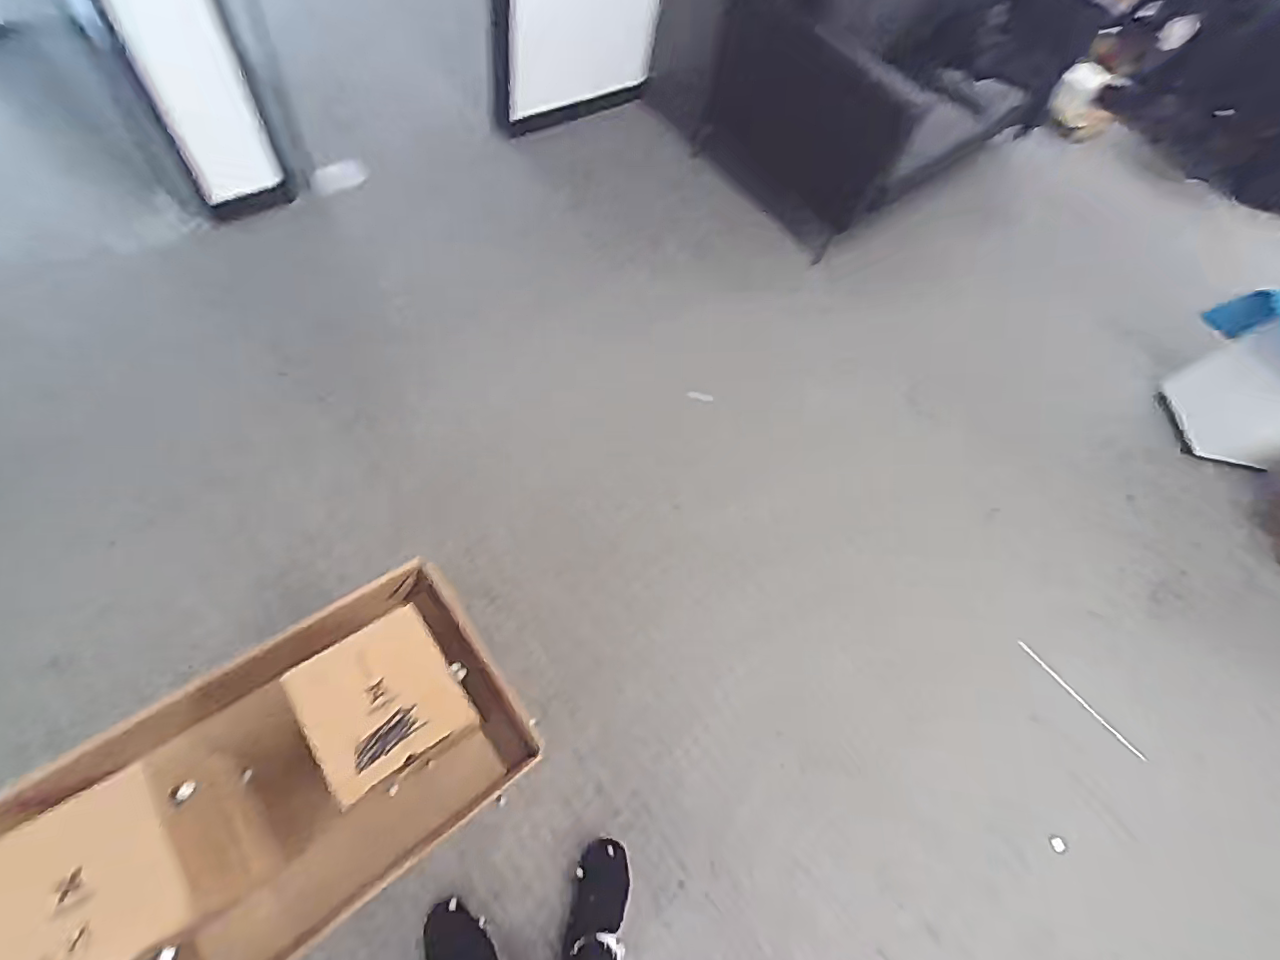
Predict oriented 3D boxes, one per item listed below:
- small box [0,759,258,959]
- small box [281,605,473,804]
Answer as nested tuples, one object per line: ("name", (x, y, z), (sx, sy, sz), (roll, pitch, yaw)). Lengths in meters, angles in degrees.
("small box", (-0.580, 0.448, 0.612), (0.168, 0.176, 0.179), (-30, 73, -24))
("small box", (-0.344, 0.303, 0.743), (0.168, 0.176, 0.179), (-30, 74, -25))
